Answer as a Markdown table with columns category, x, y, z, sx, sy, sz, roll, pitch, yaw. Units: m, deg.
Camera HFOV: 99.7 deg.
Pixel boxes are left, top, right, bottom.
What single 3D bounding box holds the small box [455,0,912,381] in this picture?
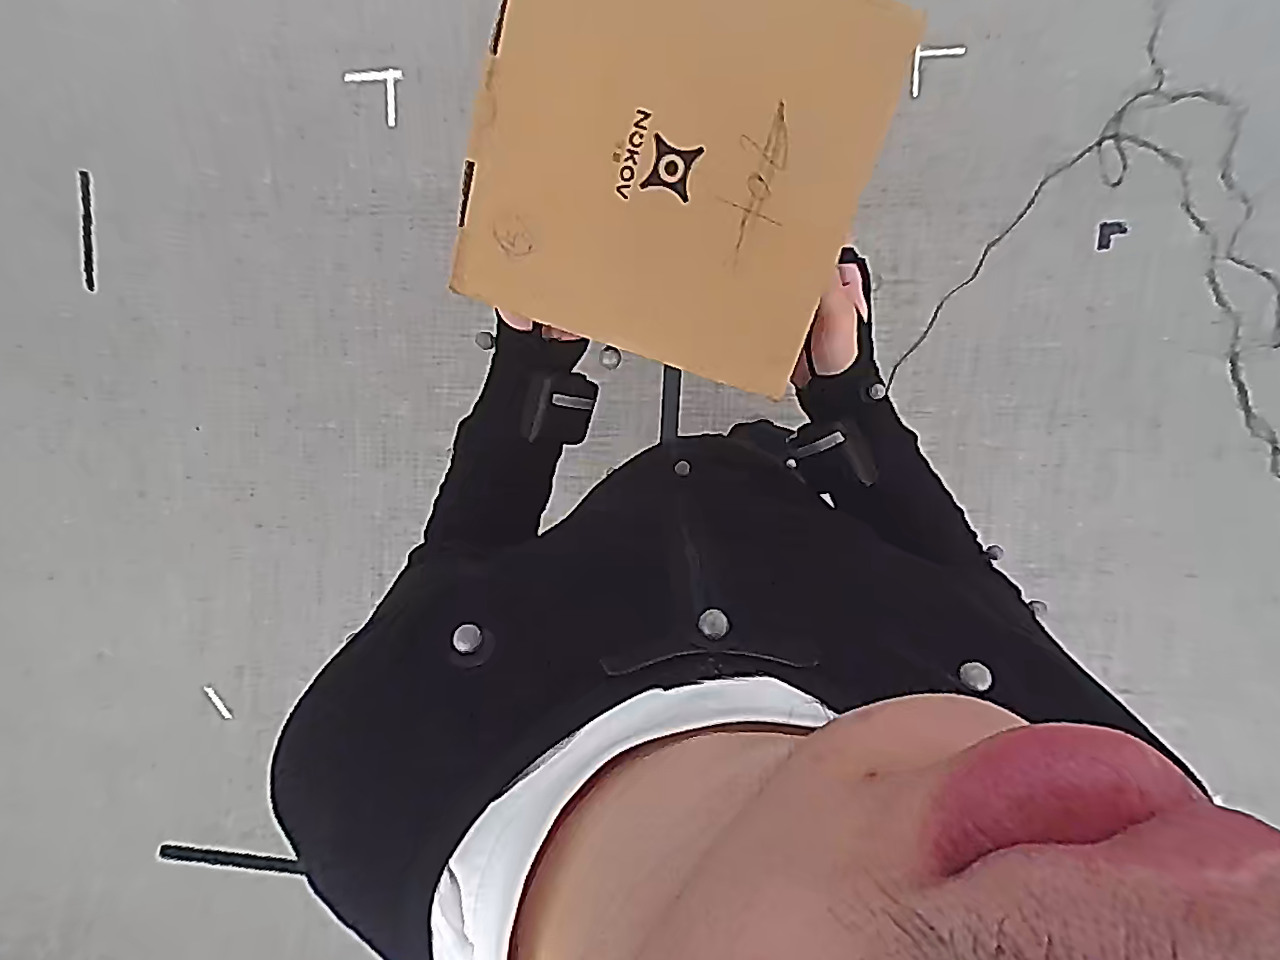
| category | x | y | z | sx | sy | sz | roll | pitch | yaw |
| --- | --- | --- | --- | --- | --- | --- | --- | --- | --- |
| small box | 0.019 | -0.168 | 0.328 | 0.179 | 0.176 | 0.168 | 18 | 107 | 2 |
